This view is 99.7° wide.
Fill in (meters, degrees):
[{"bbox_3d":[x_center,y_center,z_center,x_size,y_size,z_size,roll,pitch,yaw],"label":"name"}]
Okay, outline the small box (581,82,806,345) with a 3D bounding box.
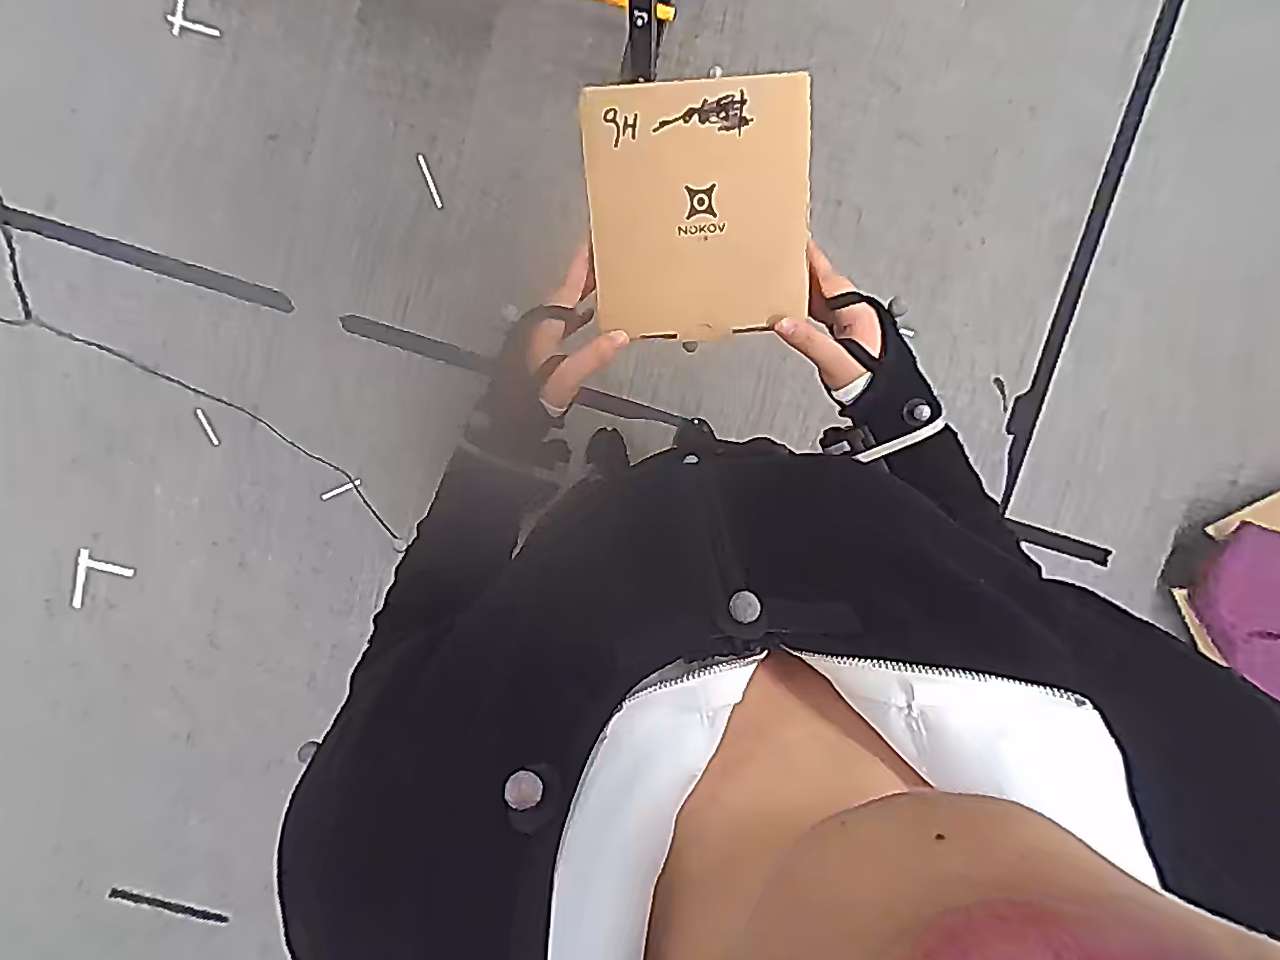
[{"bbox_3d":[0.042,-0.222,0.490,0.168,0.176,0.179,-5,107,0],"label":"small box"}]
